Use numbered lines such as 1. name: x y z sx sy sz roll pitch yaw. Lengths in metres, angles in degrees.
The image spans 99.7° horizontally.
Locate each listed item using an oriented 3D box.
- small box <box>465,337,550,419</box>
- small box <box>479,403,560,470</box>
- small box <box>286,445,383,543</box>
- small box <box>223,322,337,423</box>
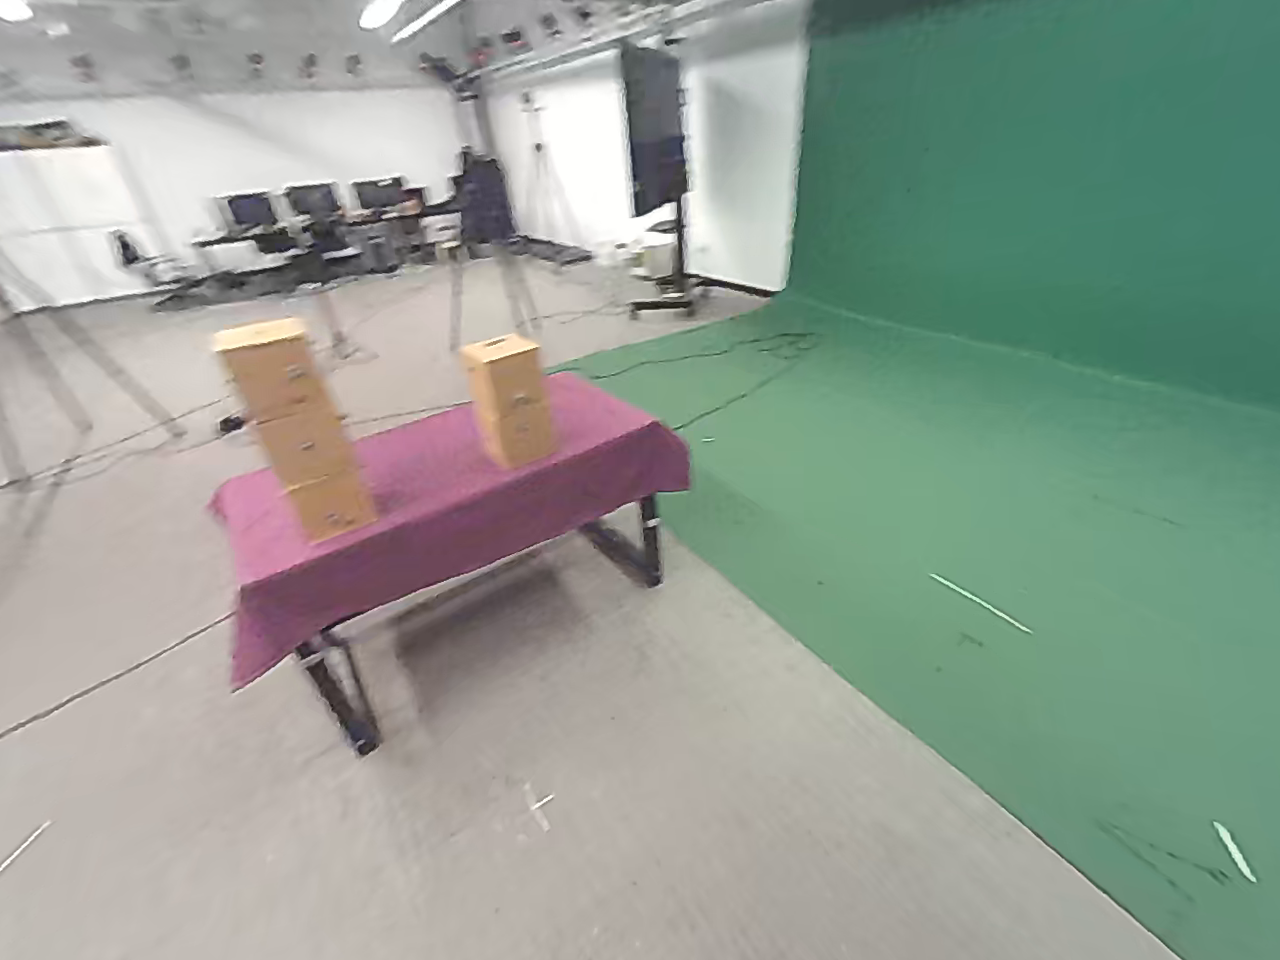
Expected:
1. small box: -0.377 -0.292 1.547 0.168 0.176 0.179 -25 38 -28
2. small box: -0.359 -0.150 1.630 0.179 0.176 0.168 -23 37 -26
3. small box: -0.790 0.035 1.401 0.168 0.176 0.179 -23 37 -27
4. small box: -0.814 -0.244 1.231 0.168 0.176 0.179 -22 36 -26
